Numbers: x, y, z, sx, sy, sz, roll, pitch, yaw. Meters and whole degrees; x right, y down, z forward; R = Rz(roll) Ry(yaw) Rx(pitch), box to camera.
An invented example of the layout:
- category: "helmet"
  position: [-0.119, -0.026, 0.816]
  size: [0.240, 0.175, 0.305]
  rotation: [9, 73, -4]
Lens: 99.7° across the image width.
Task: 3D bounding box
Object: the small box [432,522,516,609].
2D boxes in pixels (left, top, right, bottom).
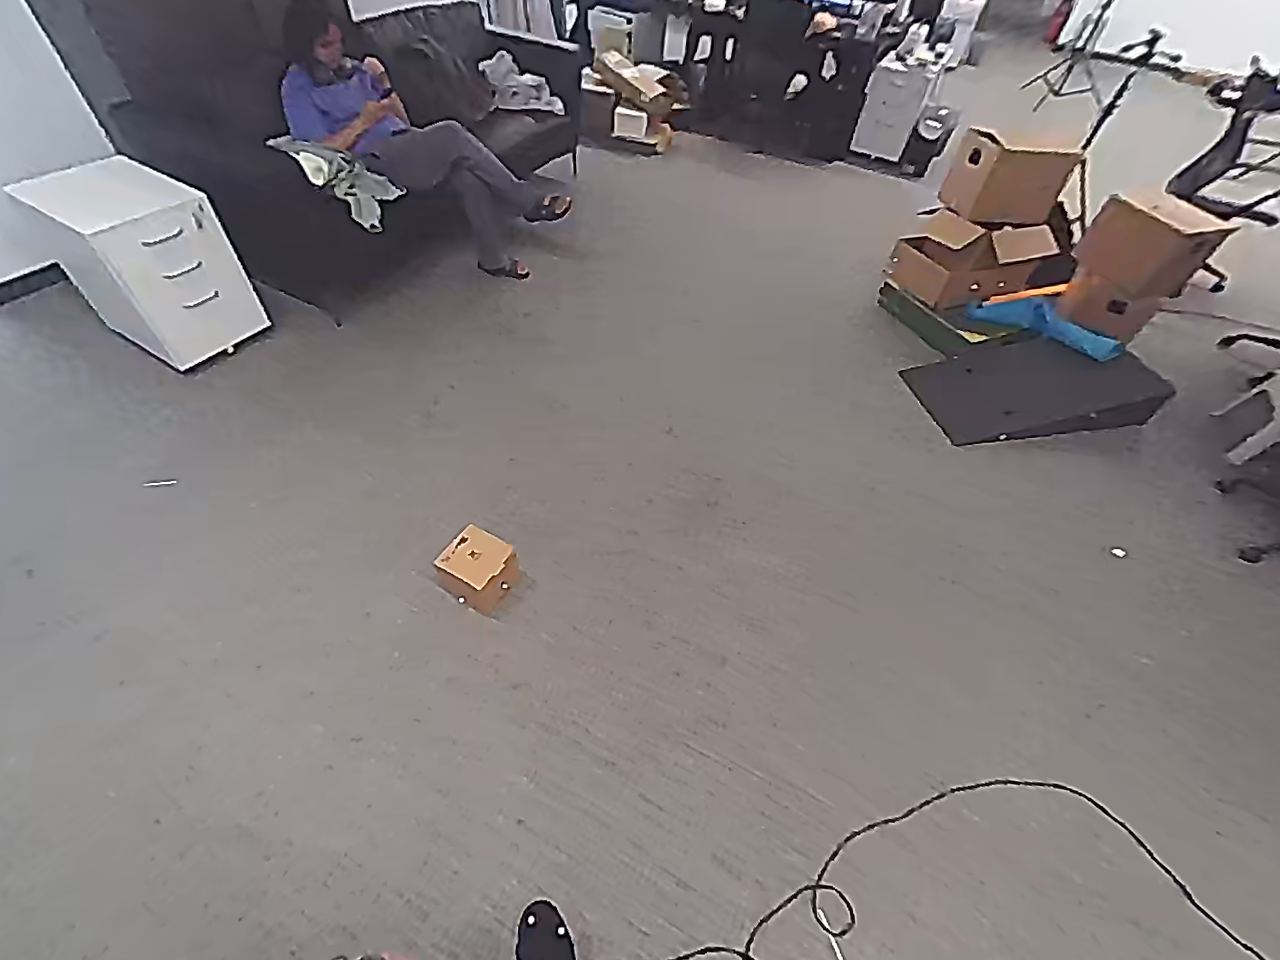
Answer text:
- category: "small box"
  position: [-0.495, 0.267, 1.646]
  size: [0.179, 0.176, 0.168]
  rotation: [26, 52, 15]
